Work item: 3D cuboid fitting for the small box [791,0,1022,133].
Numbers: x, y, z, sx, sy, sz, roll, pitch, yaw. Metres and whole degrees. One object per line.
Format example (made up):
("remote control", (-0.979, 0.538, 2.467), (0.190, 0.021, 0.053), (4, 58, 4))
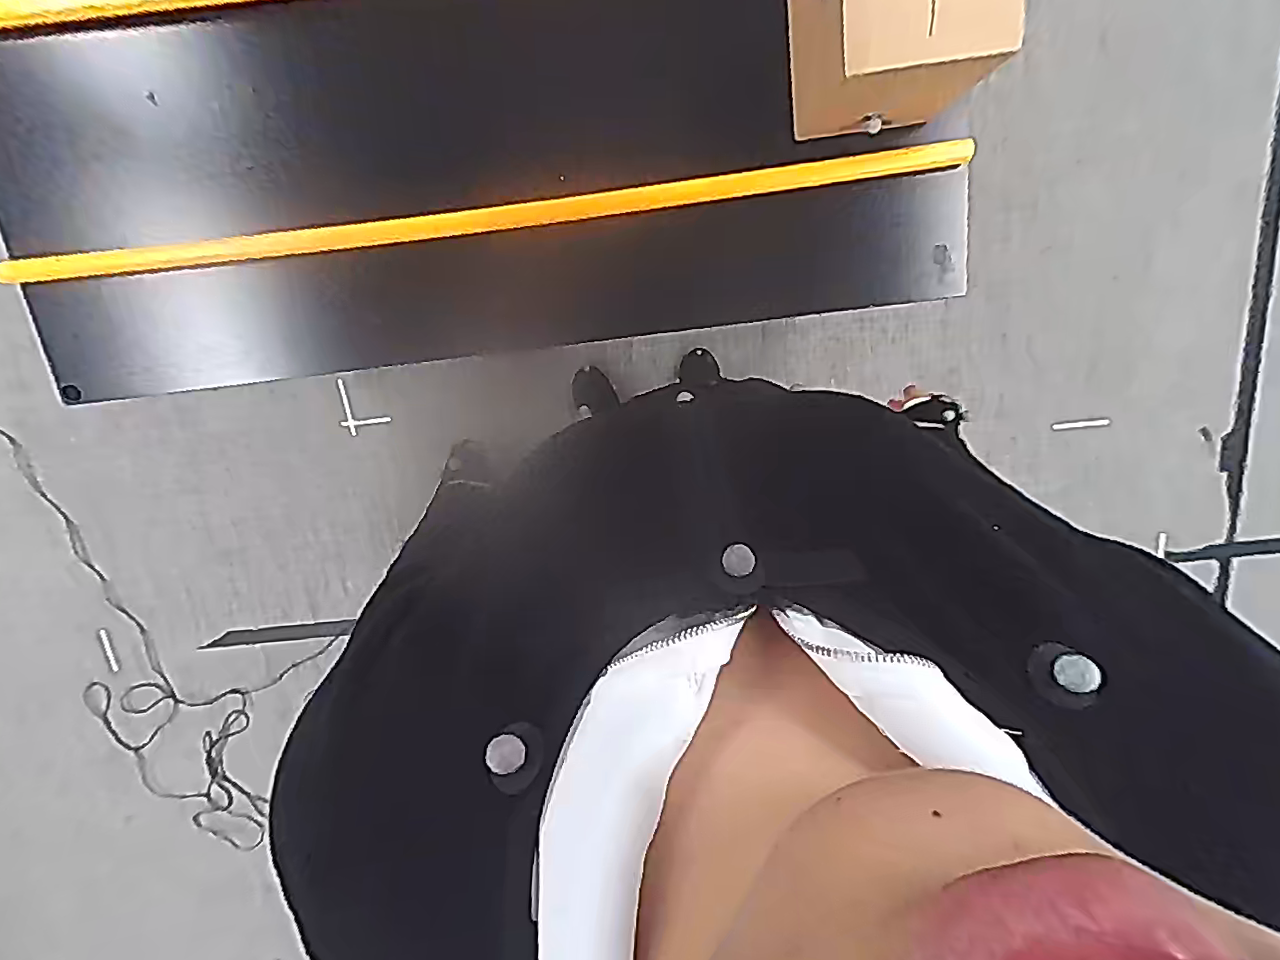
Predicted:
("small box", (0.262, -0.497, 0.562), (0.168, 0.176, 0.179), (-7, 104, 2))
